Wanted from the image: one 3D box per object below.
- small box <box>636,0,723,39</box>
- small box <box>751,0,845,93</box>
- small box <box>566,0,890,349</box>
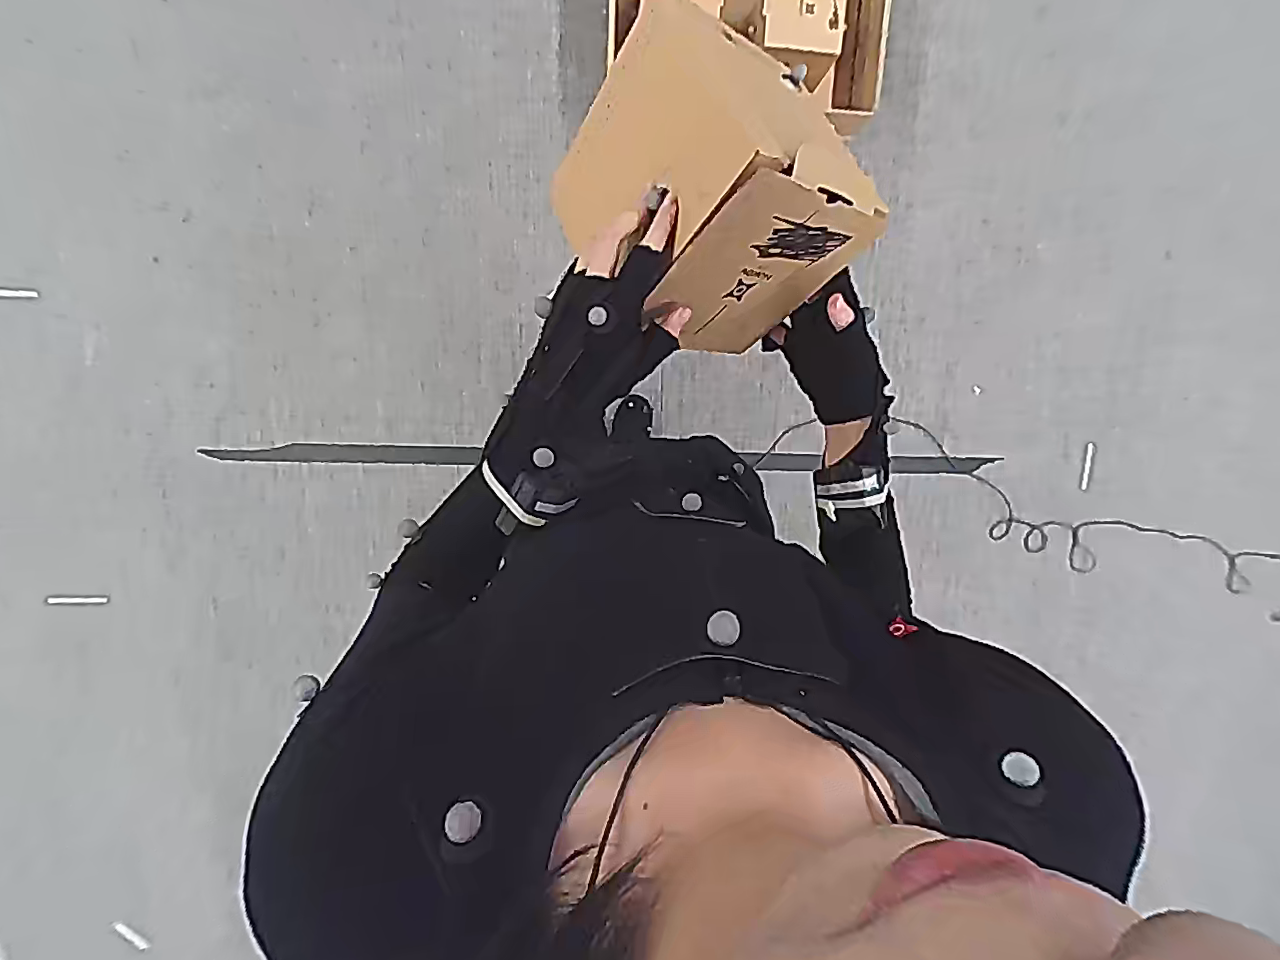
[{"bbox_3d":[0.085,-1.042,1.219,0.179,0.176,0.168,4,99,-5],"label":"small box"},{"bbox_3d":[0.351,-1.022,1.241,0.179,0.176,0.168,3,100,-2],"label":"small box"},{"bbox_3d":[0.060,-0.236,0.450,0.168,0.179,0.176,-5,66,-41],"label":"small box"}]
